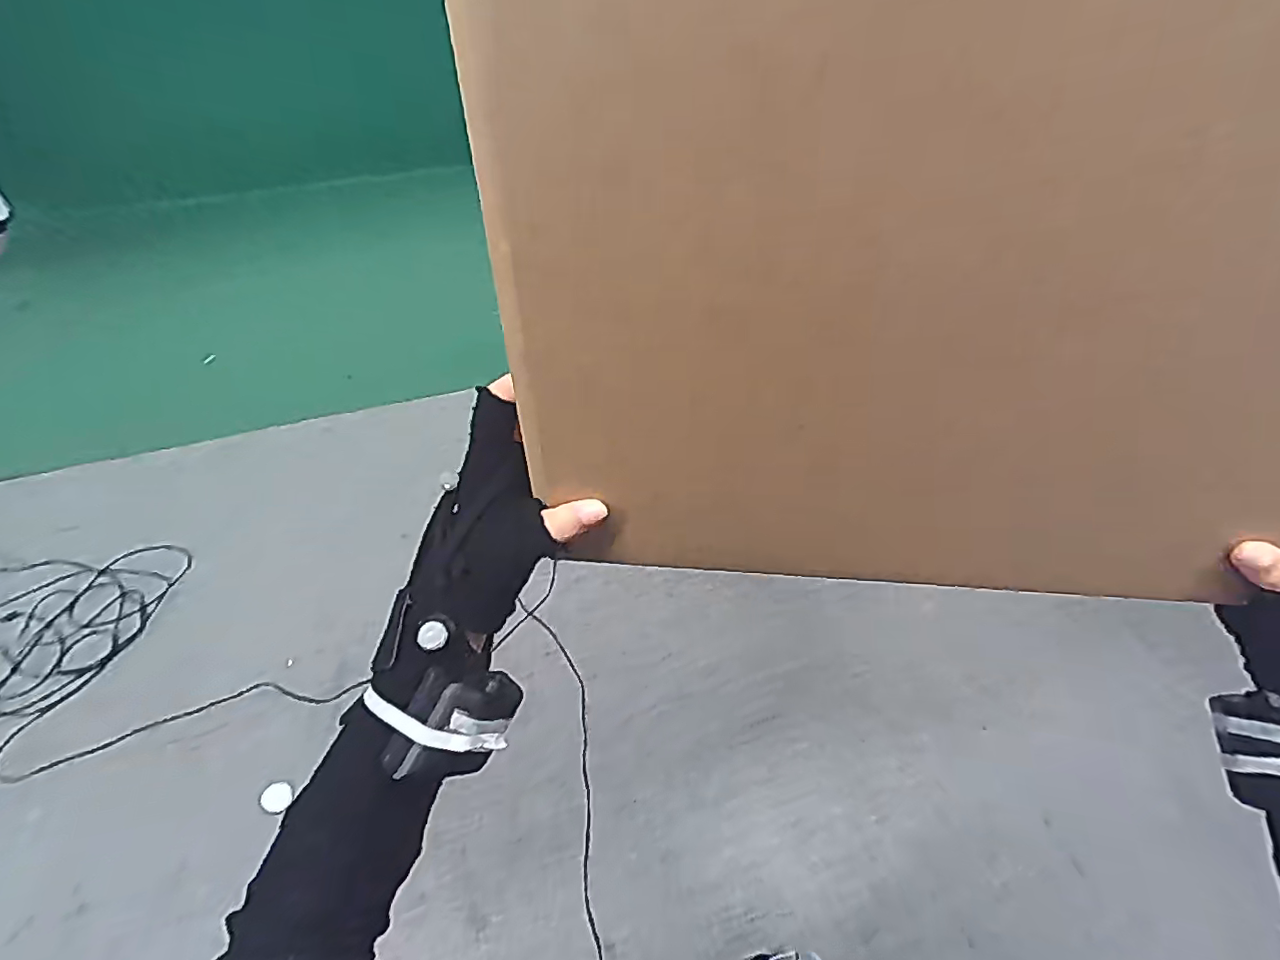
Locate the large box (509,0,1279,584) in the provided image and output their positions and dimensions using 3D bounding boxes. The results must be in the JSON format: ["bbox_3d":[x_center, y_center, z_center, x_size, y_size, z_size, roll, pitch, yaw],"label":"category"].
[{"bbox_3d":[0.159,-0.155,0.323,0.408,0.320,0.320,3,46,0],"label":"large box"}]
